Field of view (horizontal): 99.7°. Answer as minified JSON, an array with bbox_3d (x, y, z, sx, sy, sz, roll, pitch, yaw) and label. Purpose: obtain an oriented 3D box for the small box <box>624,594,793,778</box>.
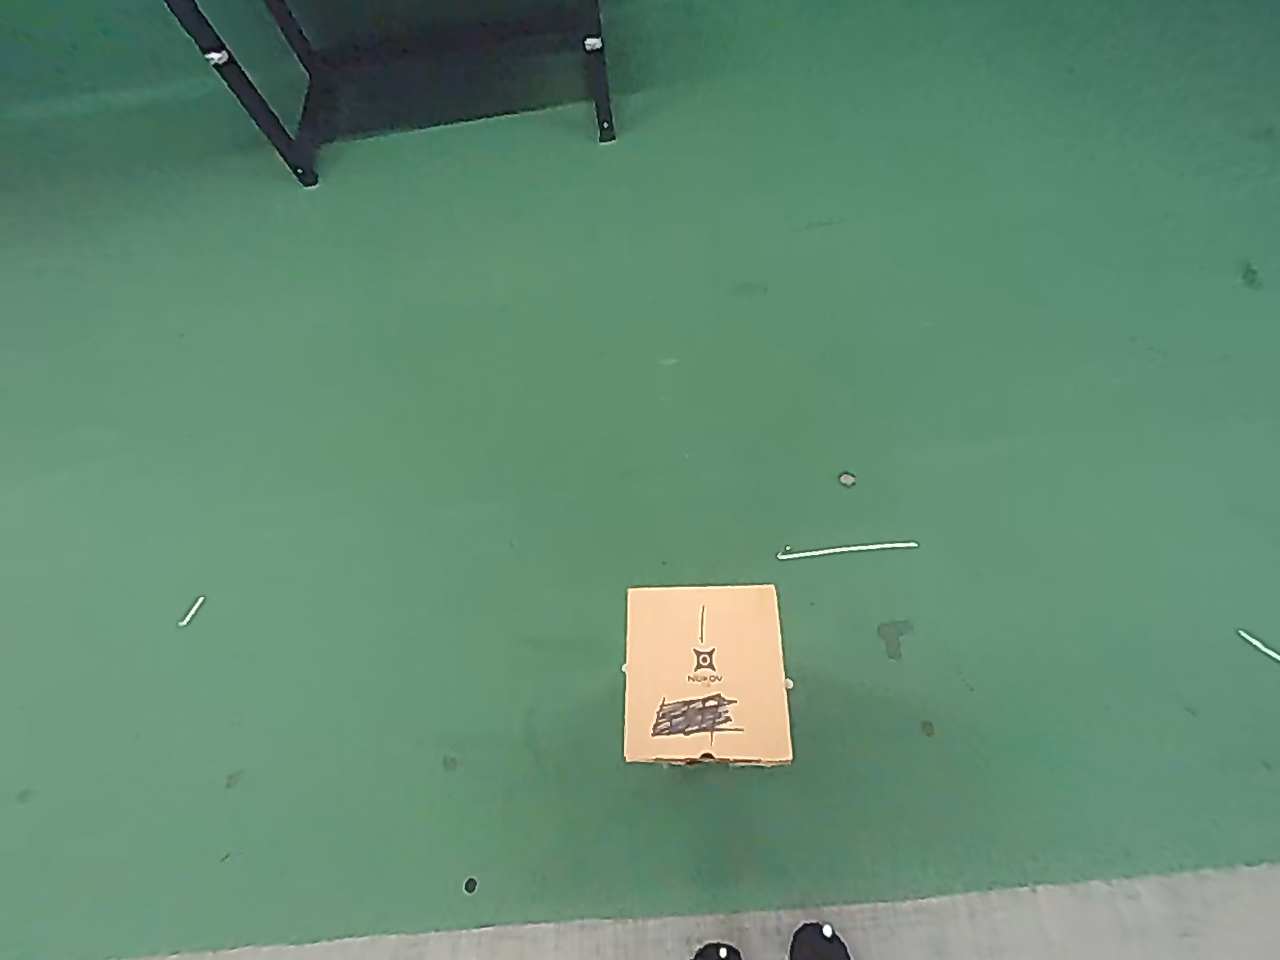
[{"bbox_3d":[0.078,0.237,0.625,0.168,0.176,0.179,-2,64,7],"label":"small box"}]
